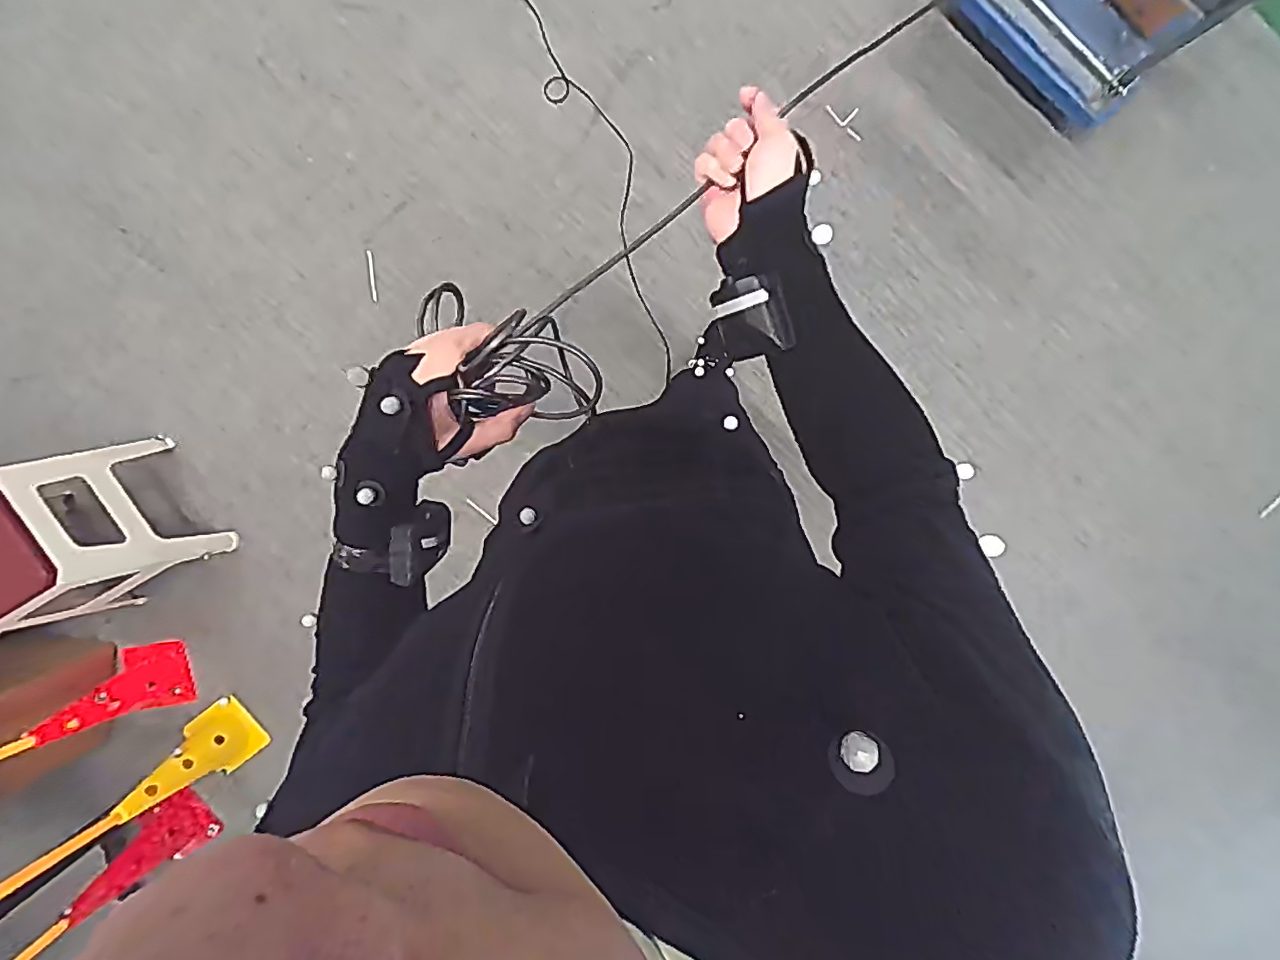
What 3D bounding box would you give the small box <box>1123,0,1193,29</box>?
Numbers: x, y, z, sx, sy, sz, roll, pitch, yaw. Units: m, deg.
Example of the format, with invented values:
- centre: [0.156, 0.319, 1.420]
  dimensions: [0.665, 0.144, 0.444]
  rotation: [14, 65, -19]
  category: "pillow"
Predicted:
- centre: [1.254, -1.208, 1.232]
  dimensions: [0.168, 0.176, 0.179]
  rotation: [42, 95, -4]
  category: "small box"
